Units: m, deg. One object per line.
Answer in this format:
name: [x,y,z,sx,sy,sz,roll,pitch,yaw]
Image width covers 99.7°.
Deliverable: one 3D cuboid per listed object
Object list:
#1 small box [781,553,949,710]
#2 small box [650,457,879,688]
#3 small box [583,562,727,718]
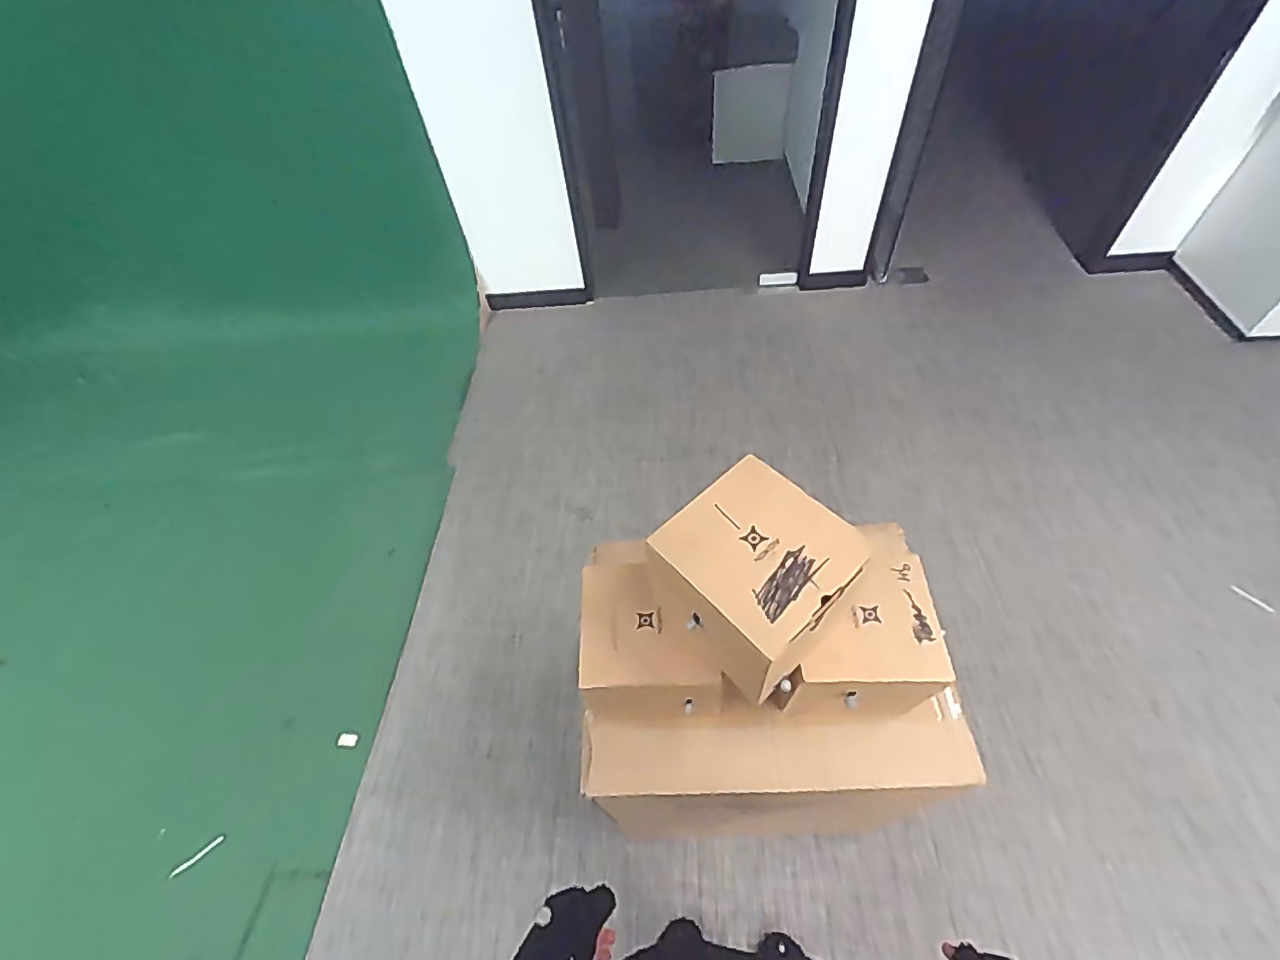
small box: [0.283,0.213,0.740,0.179,0.176,0.168,-3,56,5]
small box: [0.134,0.114,0.623,0.168,0.176,0.179,-37,58,-19]
small box: [0.022,0.226,0.757,0.179,0.176,0.168,-5,53,4]
